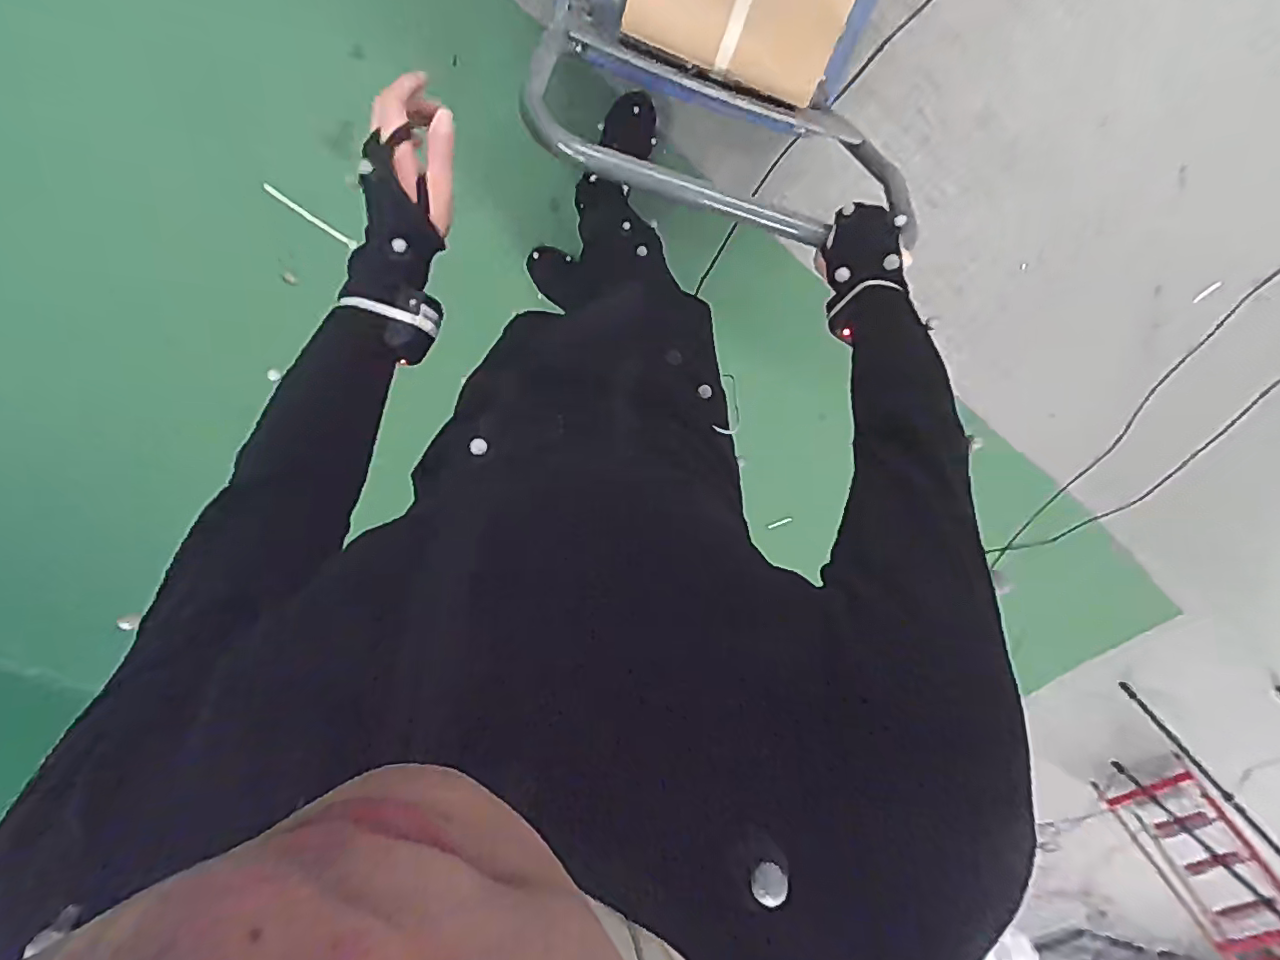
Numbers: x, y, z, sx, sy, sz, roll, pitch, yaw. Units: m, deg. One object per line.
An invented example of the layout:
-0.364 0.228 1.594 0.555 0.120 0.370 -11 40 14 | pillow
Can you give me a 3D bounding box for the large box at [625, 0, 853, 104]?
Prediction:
0.178 -0.864 0.817 0.320 0.320 0.408 13 129 -12 | large box
